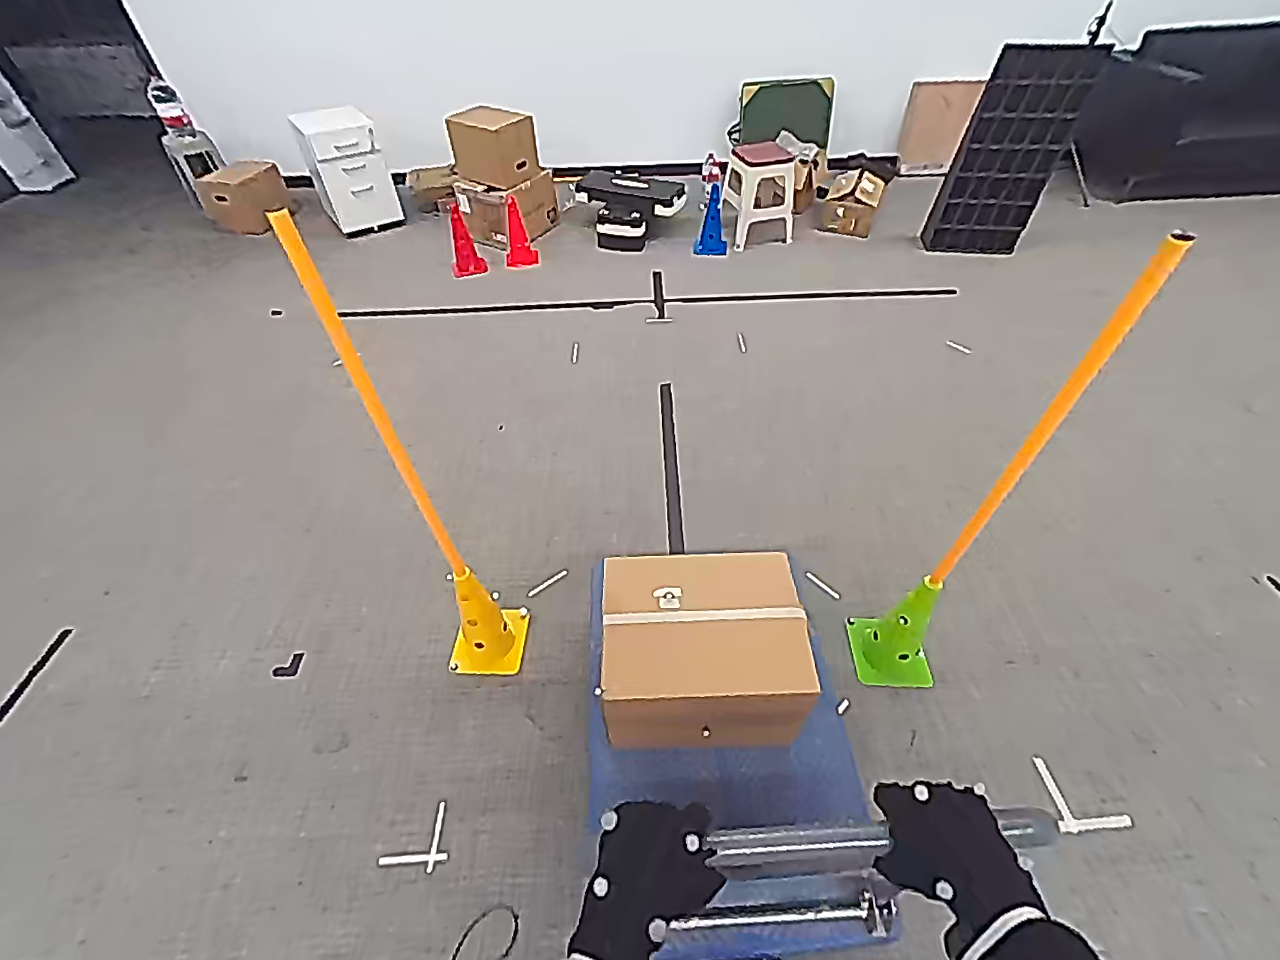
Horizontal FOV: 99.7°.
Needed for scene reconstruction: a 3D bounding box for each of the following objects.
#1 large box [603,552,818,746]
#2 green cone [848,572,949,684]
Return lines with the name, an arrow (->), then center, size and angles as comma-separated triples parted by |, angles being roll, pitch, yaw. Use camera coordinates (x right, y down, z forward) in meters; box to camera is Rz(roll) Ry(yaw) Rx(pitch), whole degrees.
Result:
large box -> 0.132, 0.381, 1.203 | 0.408, 0.320, 0.320 | -3, 47, 1
green cone -> 0.702, 0.359, 1.401 | 0.202, 0.368, 0.200 | 2, 47, 2
